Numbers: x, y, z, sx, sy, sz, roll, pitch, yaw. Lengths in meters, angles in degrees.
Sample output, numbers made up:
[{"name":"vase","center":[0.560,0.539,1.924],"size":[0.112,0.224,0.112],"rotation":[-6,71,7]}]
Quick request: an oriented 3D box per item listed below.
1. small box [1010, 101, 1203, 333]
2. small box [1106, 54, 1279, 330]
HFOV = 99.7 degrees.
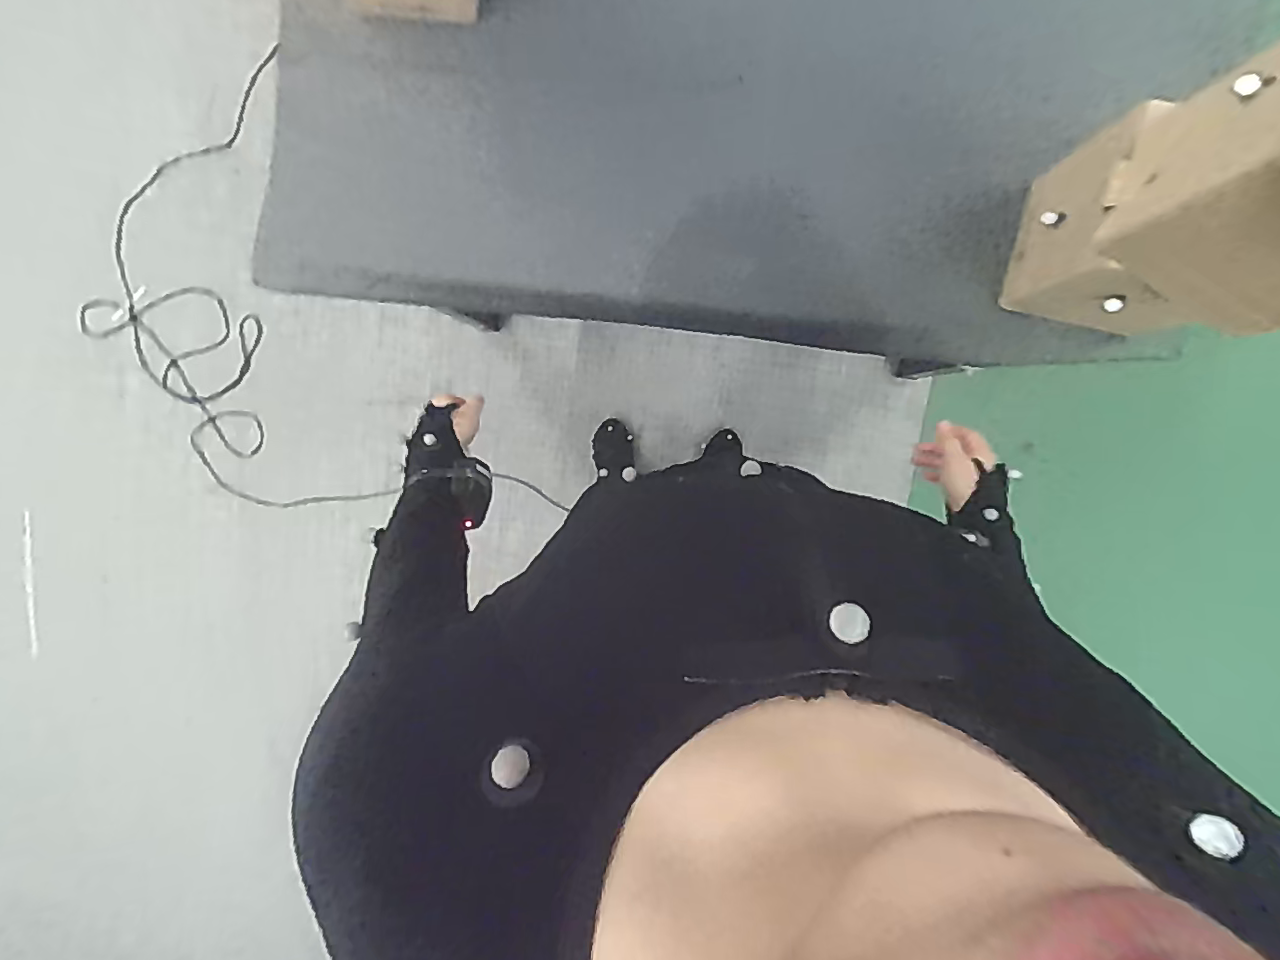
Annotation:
[{"name":"small box","center":[0.564,-0.275,0.605],"size":[0.179,0.176,0.168],"rotation":[13,95,2]},{"name":"small box","center":[0.557,-0.246,0.444],"size":[0.179,0.176,0.168],"rotation":[34,95,-1]}]
